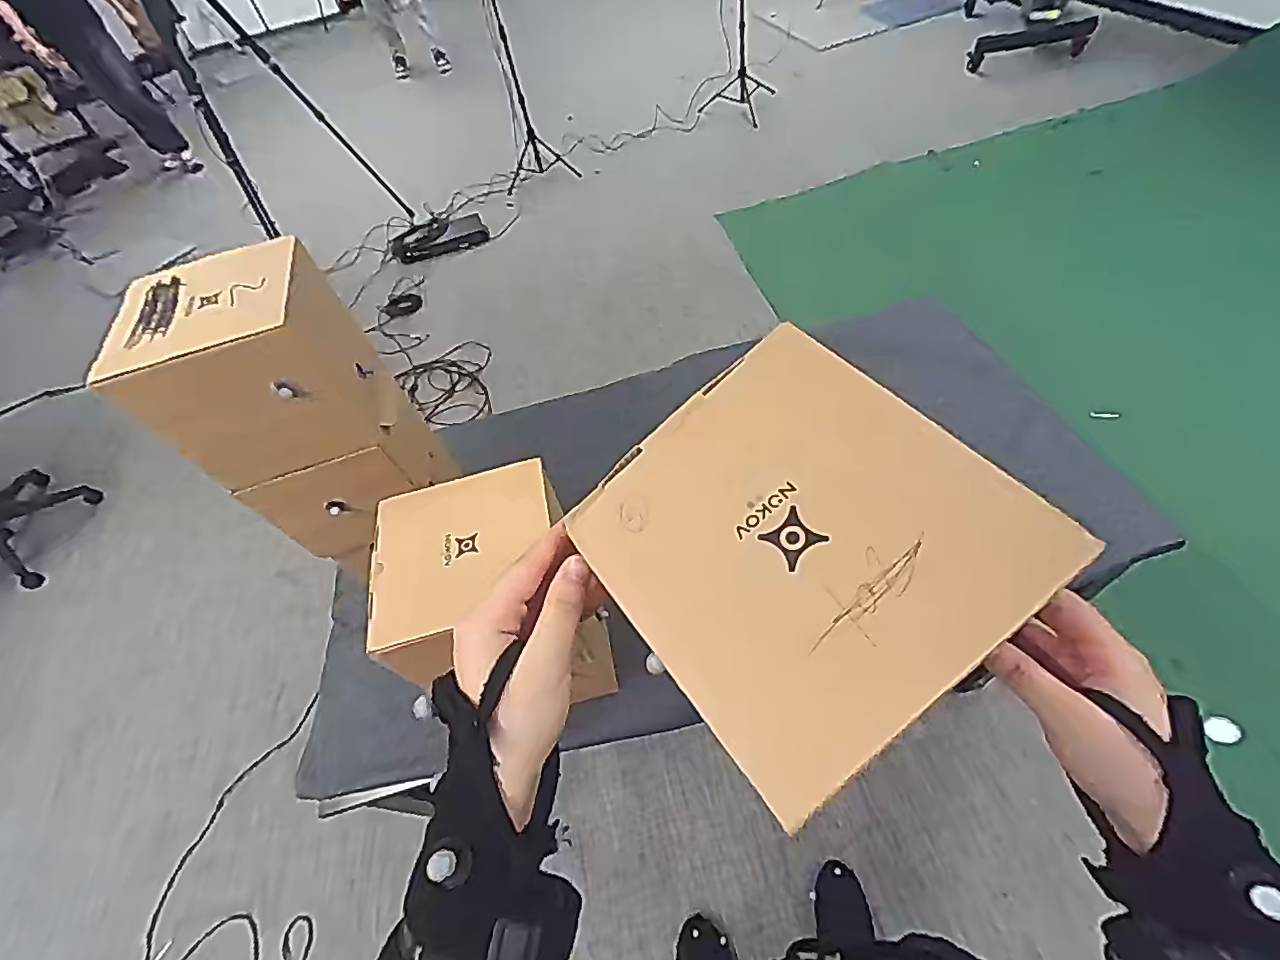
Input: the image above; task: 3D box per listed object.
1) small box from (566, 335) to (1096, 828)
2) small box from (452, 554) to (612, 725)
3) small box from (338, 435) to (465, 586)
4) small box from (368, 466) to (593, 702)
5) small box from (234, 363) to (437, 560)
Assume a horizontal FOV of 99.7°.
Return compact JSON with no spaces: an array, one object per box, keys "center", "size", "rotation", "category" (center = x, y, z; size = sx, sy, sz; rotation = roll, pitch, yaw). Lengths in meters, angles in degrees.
[{"center":[0.093,0.058,0.319],"size":[0.168,0.176,0.179],"rotation":[-42,61,0],"category":"small box"},{"center":[-0.140,0.203,0.711],"size":[0.179,0.176,0.168],"rotation":[-15,52,0],"category":"small box"},{"center":[-0.365,0.064,0.861],"size":[0.168,0.176,0.179],"rotation":[-19,53,-4],"category":"small box"},{"center":[-0.155,0.116,0.574],"size":[0.179,0.176,0.168],"rotation":[-16,53,0],"category":"small box"},{"center":[-0.384,-0.020,0.719],"size":[0.179,0.176,0.168],"rotation":[-19,54,-3],"category":"small box"}]
